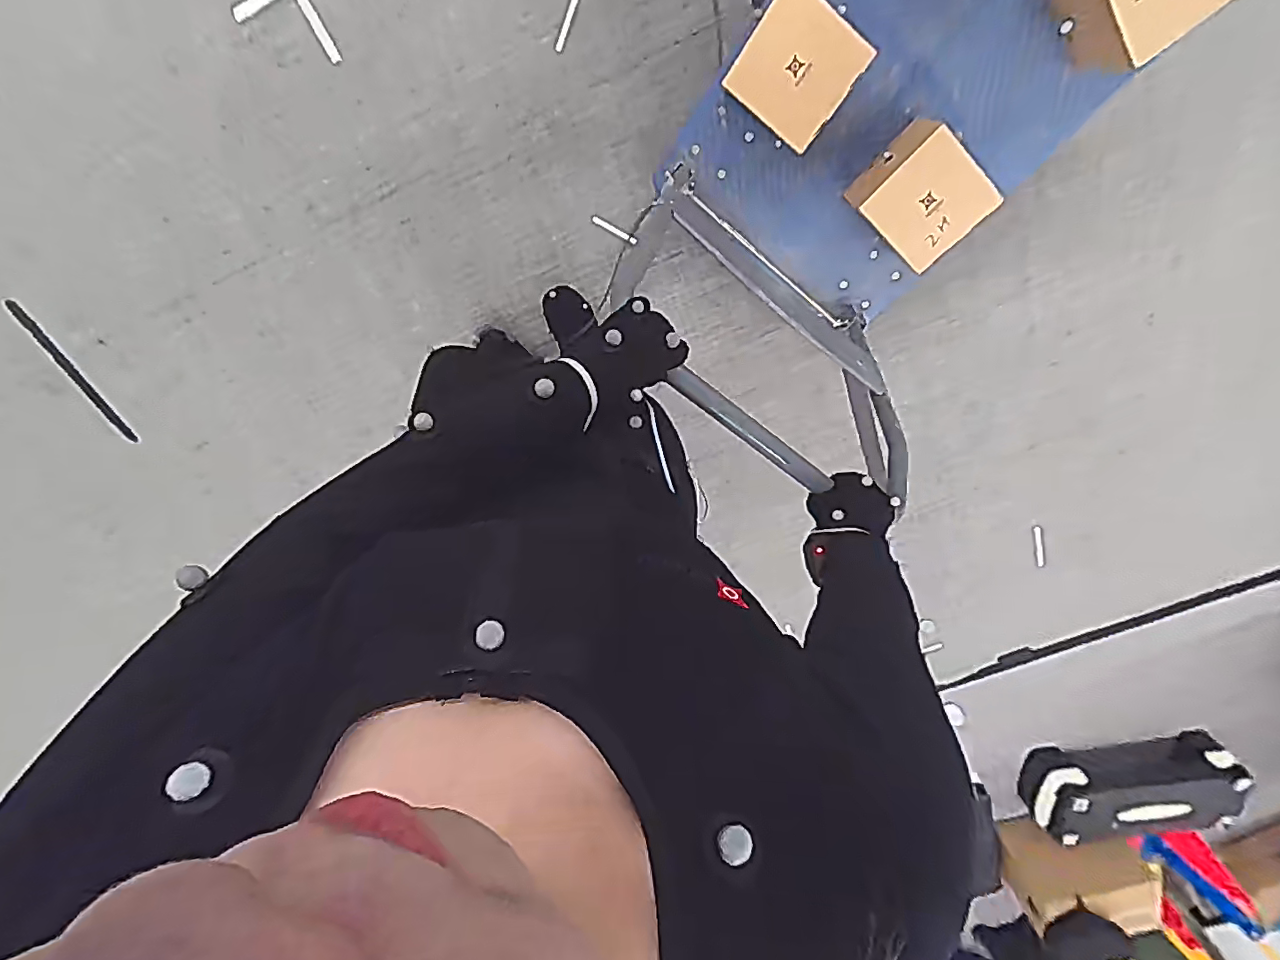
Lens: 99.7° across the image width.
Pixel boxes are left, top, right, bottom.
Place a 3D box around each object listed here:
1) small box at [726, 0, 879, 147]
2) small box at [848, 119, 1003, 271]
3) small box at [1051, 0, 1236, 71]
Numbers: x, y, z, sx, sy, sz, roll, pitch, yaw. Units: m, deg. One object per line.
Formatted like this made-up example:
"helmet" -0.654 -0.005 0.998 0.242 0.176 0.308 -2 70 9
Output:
"small box" 0.258 -0.696 0.906 0.179 0.176 0.168 32 124 -16
"small box" 0.509 -0.523 0.992 0.179 0.176 0.168 38 123 -18
"small box" 0.753 -0.746 0.792 0.179 0.176 0.168 -33 115 29
